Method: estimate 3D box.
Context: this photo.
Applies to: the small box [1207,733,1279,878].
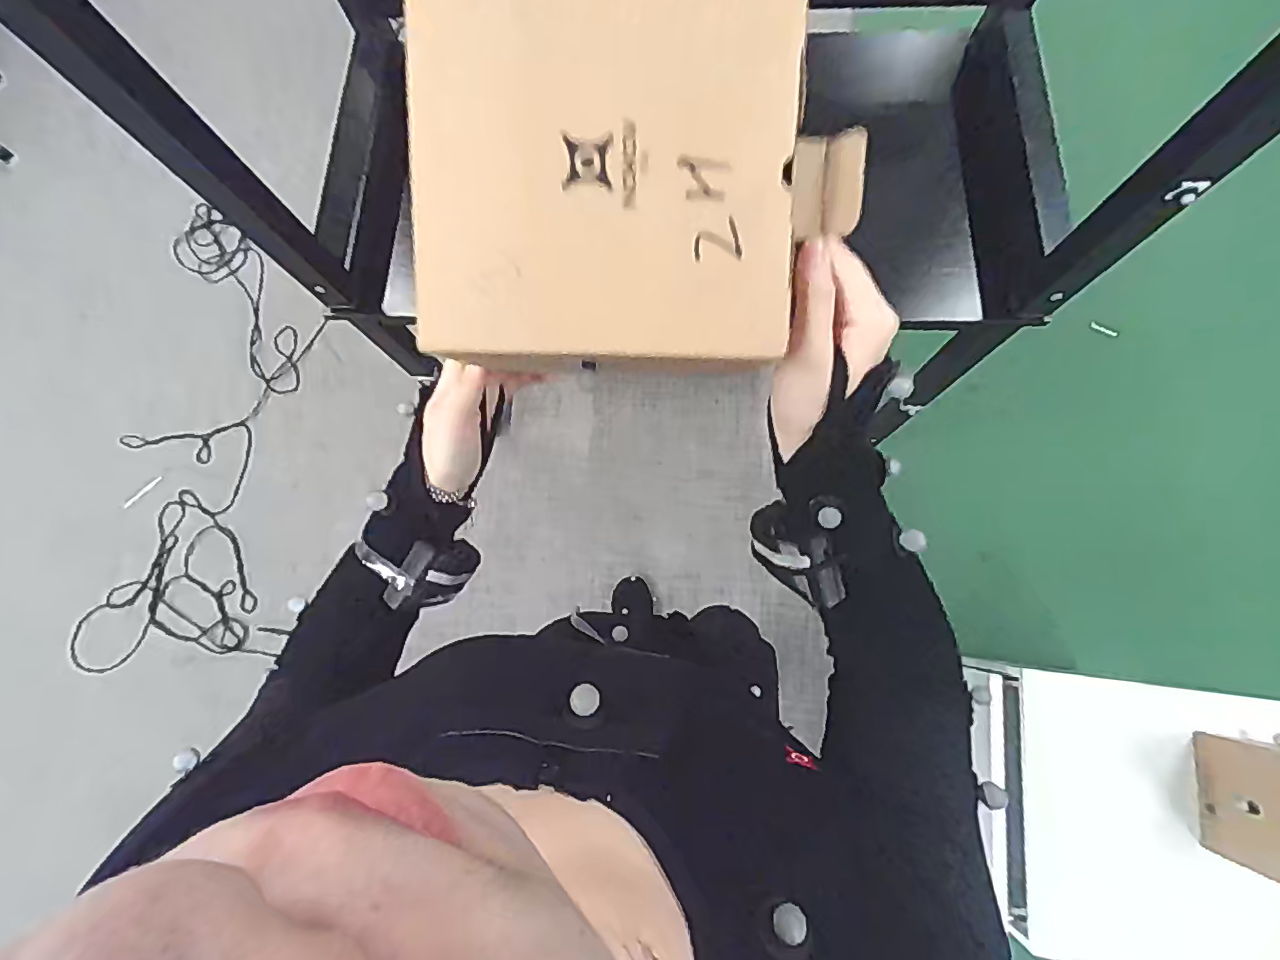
[{"bbox_3d":[0.914,0.449,0.716,0.179,0.176,0.168,7,78,6],"label":"small box"}]
